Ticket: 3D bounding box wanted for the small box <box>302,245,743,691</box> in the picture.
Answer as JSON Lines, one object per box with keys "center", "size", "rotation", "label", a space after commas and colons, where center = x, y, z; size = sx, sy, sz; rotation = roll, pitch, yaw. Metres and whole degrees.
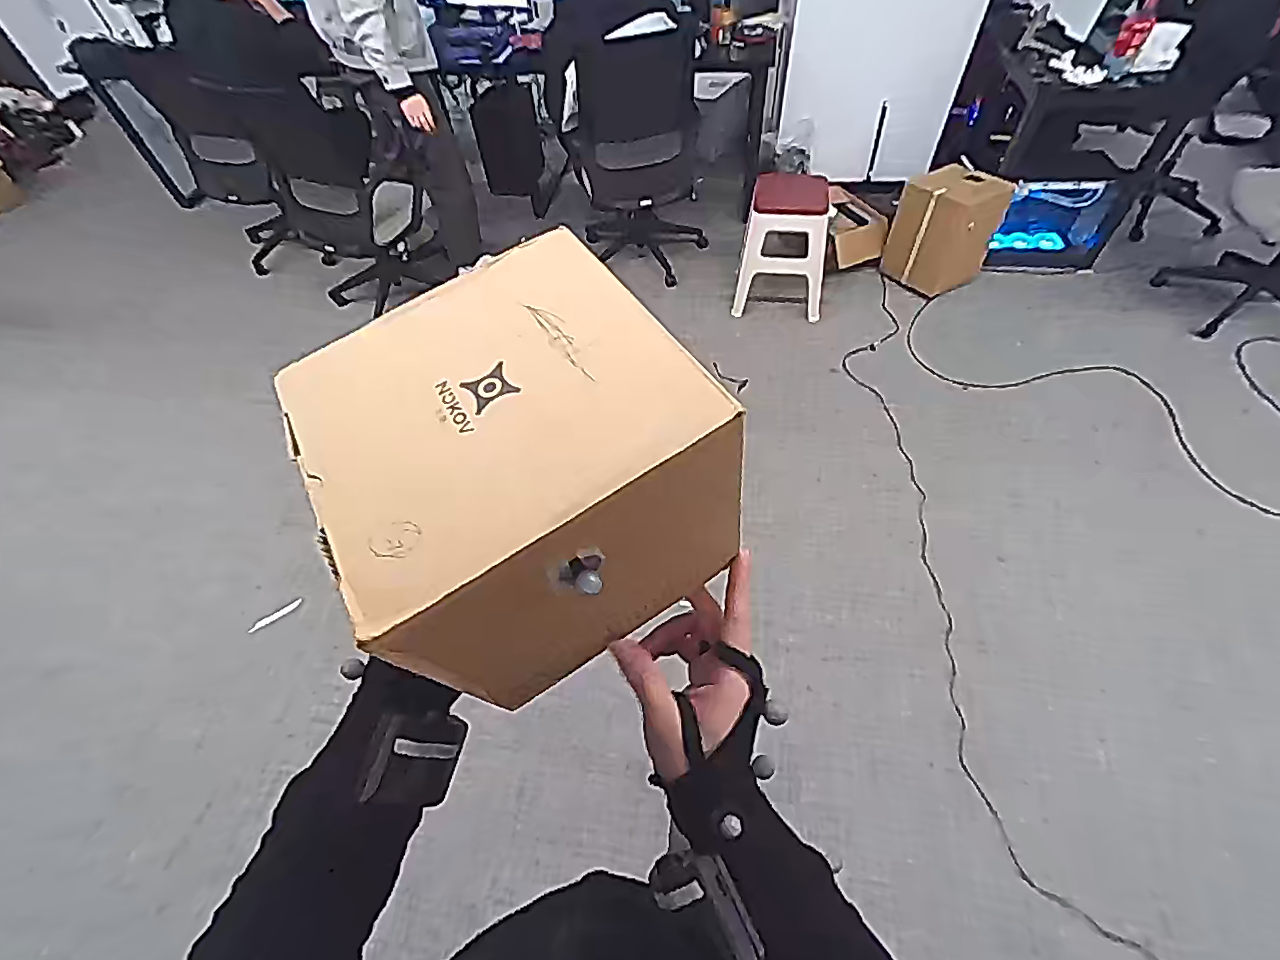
{"center": [-0.055, 0.003, 0.329], "size": [0.179, 0.176, 0.168], "rotation": [-31, 61, -11], "label": "small box"}
